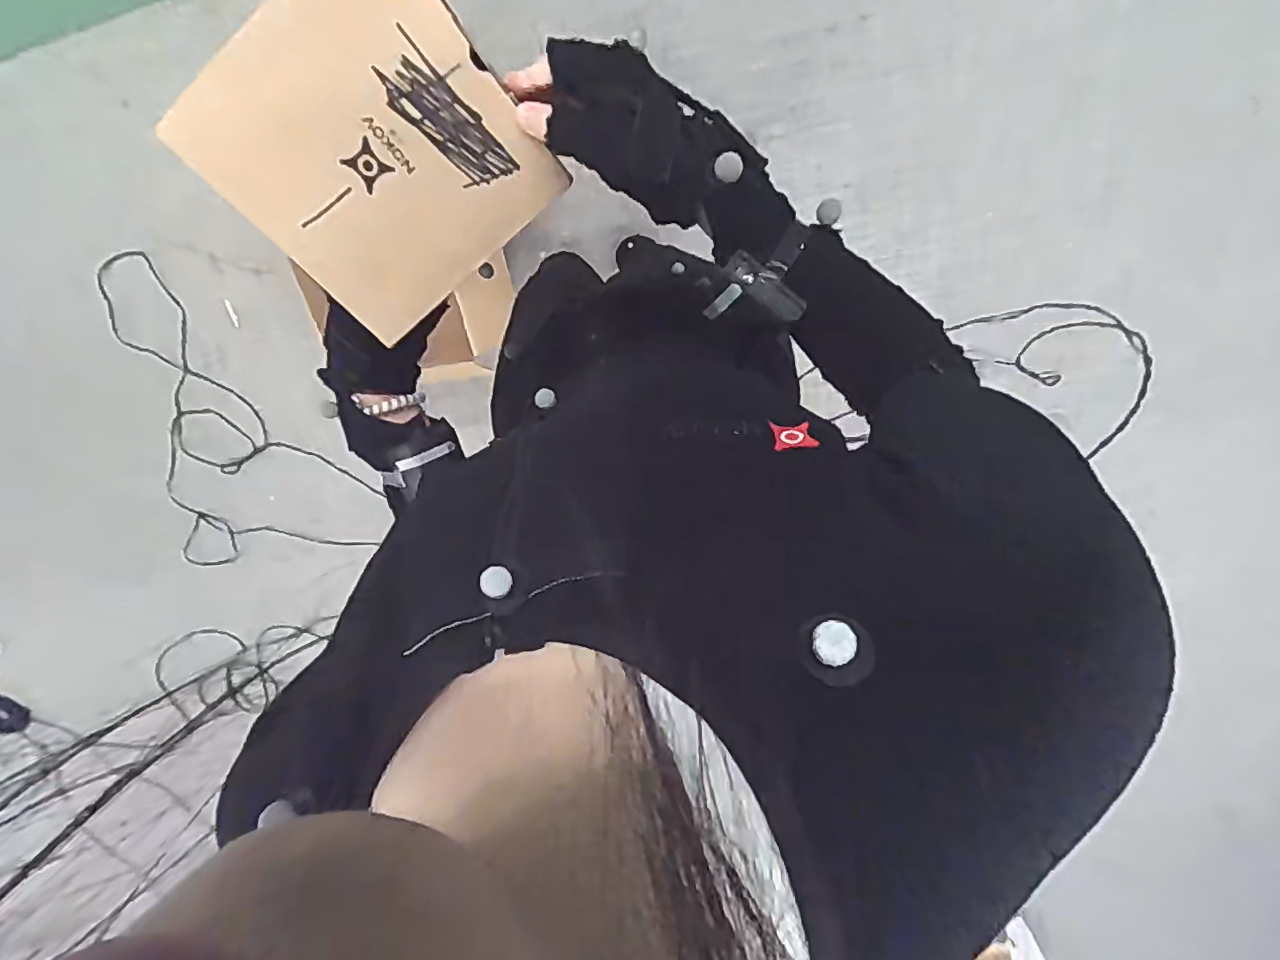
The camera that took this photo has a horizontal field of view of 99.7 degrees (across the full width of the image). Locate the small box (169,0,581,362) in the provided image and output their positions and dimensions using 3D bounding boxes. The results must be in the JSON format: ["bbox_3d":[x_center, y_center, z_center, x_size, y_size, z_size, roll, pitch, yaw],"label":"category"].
[{"bbox_3d":[-0.167,-0.224,0.396,0.179,0.176,0.168,-36,121,11],"label":"small box"}]
